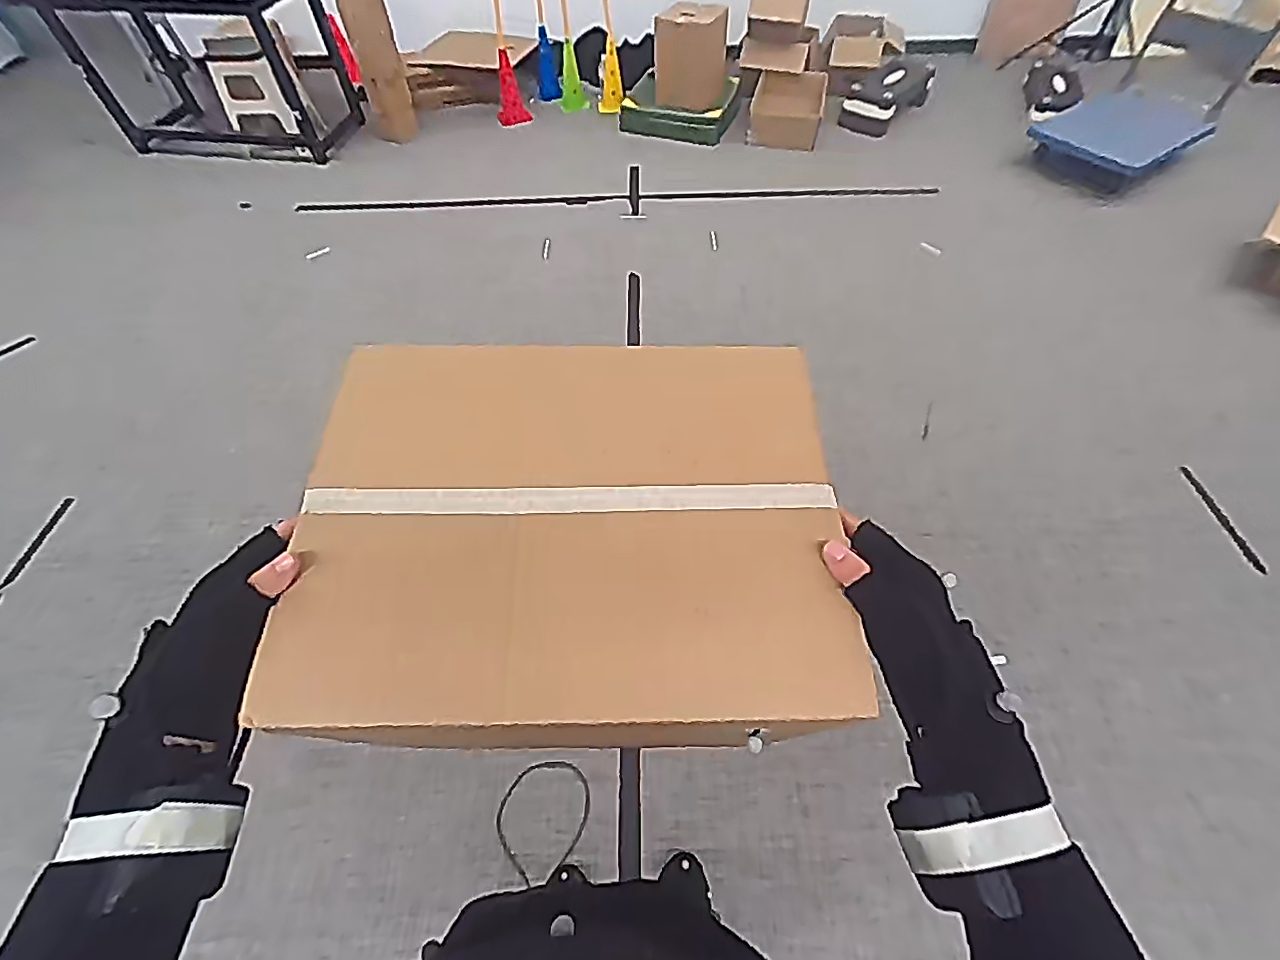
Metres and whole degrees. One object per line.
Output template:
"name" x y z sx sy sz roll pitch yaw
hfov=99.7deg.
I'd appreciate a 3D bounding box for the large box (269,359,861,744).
"large box" -0.052 0.094 0.559 0.408 0.320 0.320 0 61 -1
